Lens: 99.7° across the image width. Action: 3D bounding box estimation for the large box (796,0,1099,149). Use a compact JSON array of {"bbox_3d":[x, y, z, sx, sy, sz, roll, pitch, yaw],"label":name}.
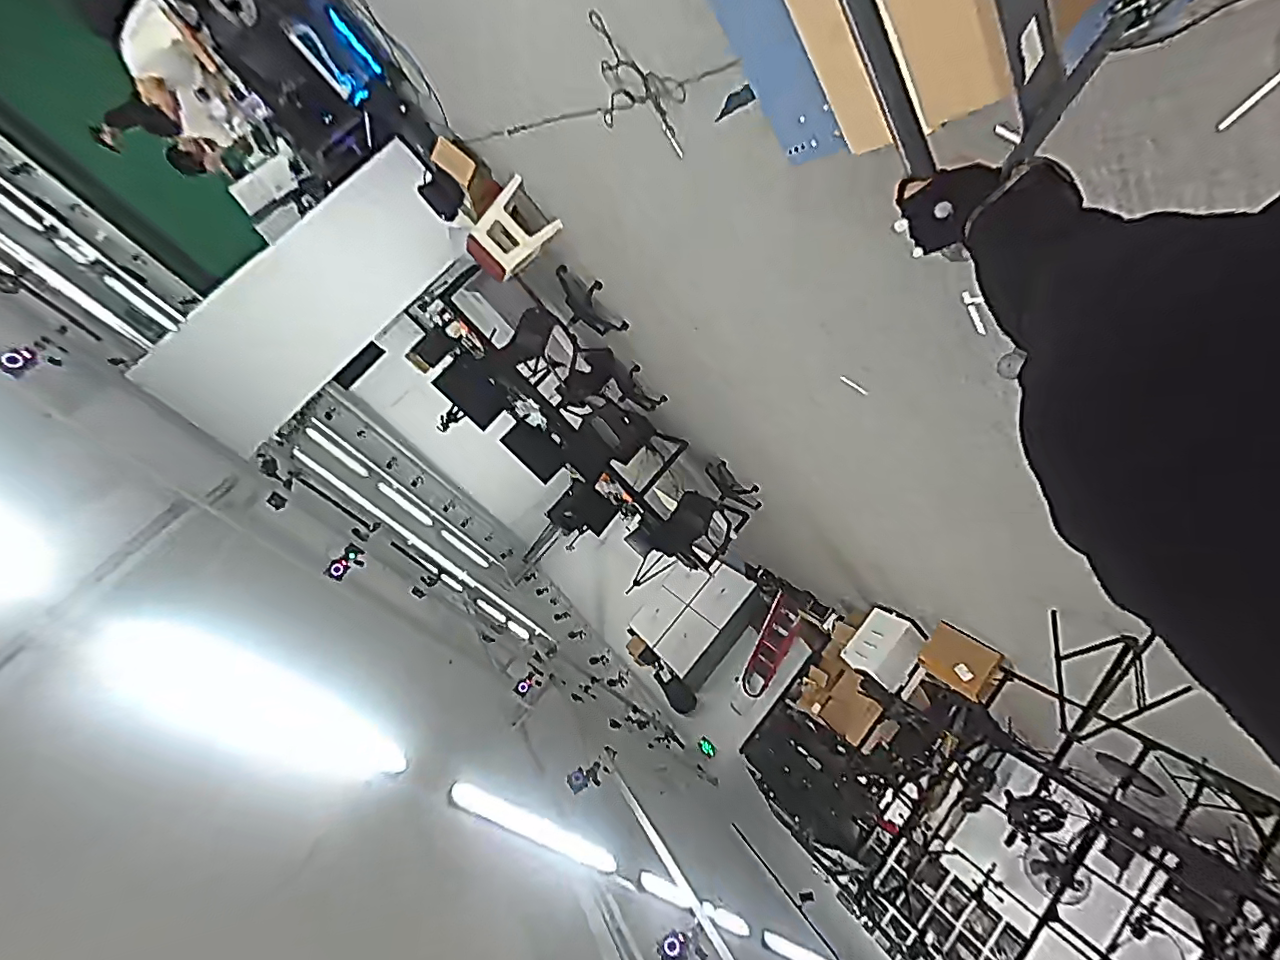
[{"bbox_3d":[0.487,-0.854,0.867,0.408,0.320,0.320,47,168,-29],"label":"large box"}]
